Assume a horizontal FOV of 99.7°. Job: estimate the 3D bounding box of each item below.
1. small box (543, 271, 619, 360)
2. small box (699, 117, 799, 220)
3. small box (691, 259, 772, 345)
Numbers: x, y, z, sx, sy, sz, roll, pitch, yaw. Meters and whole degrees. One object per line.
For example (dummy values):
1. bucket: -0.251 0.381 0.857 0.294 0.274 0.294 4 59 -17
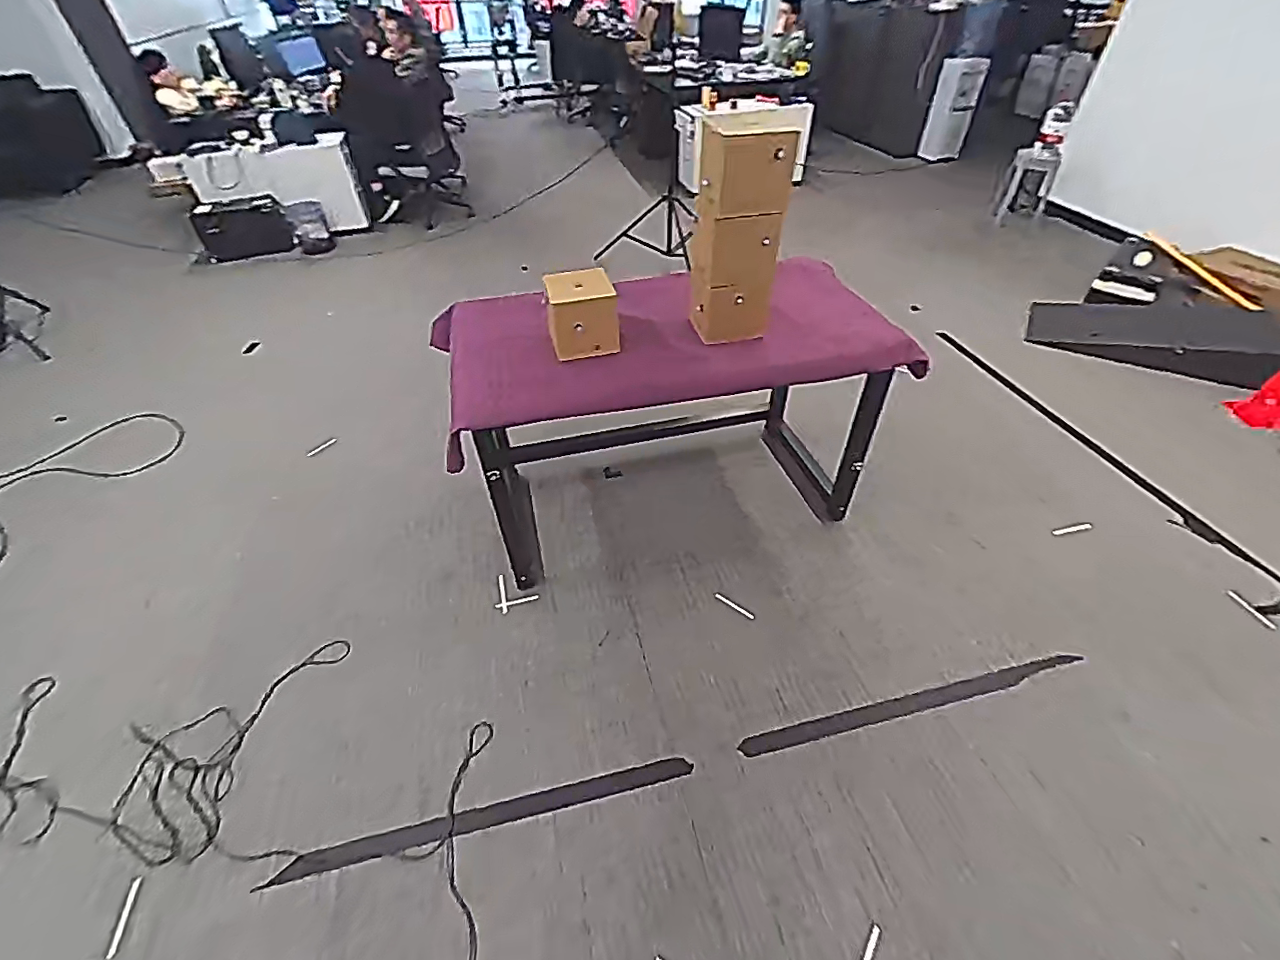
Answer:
1. small box: -0.155 -0.434 1.449 0.168 0.176 0.179 -12 44 -10
2. small box: 0.244 -0.724 1.258 0.179 0.176 0.168 -10 44 -8
3. small box: 0.243 -0.487 1.488 0.179 0.176 0.168 -9 45 -8
